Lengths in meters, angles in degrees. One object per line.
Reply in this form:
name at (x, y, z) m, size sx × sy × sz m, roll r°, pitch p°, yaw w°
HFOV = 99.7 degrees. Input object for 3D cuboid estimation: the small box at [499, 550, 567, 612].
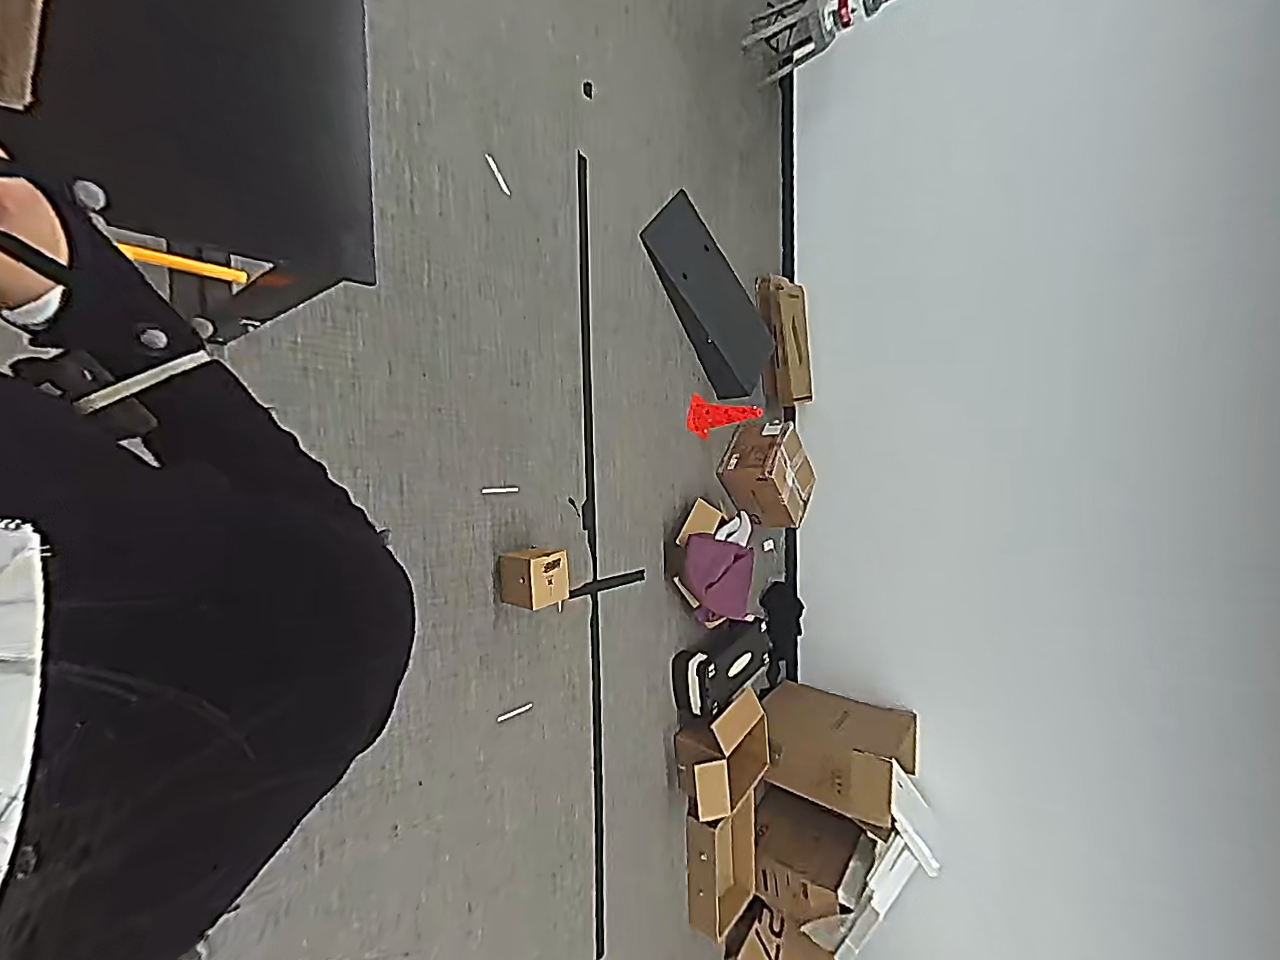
small box at (-0.375, 0.343, 1.880) m, size 0.168 × 0.176 × 0.179 m, roll -9°, pitch 98°, yaw -51°

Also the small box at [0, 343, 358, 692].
small box at (-0.339, 0.034, 0.407) m, size 0.179 × 0.168 × 0.176 m, roll 11°, pitch 37°, yaw -54°
